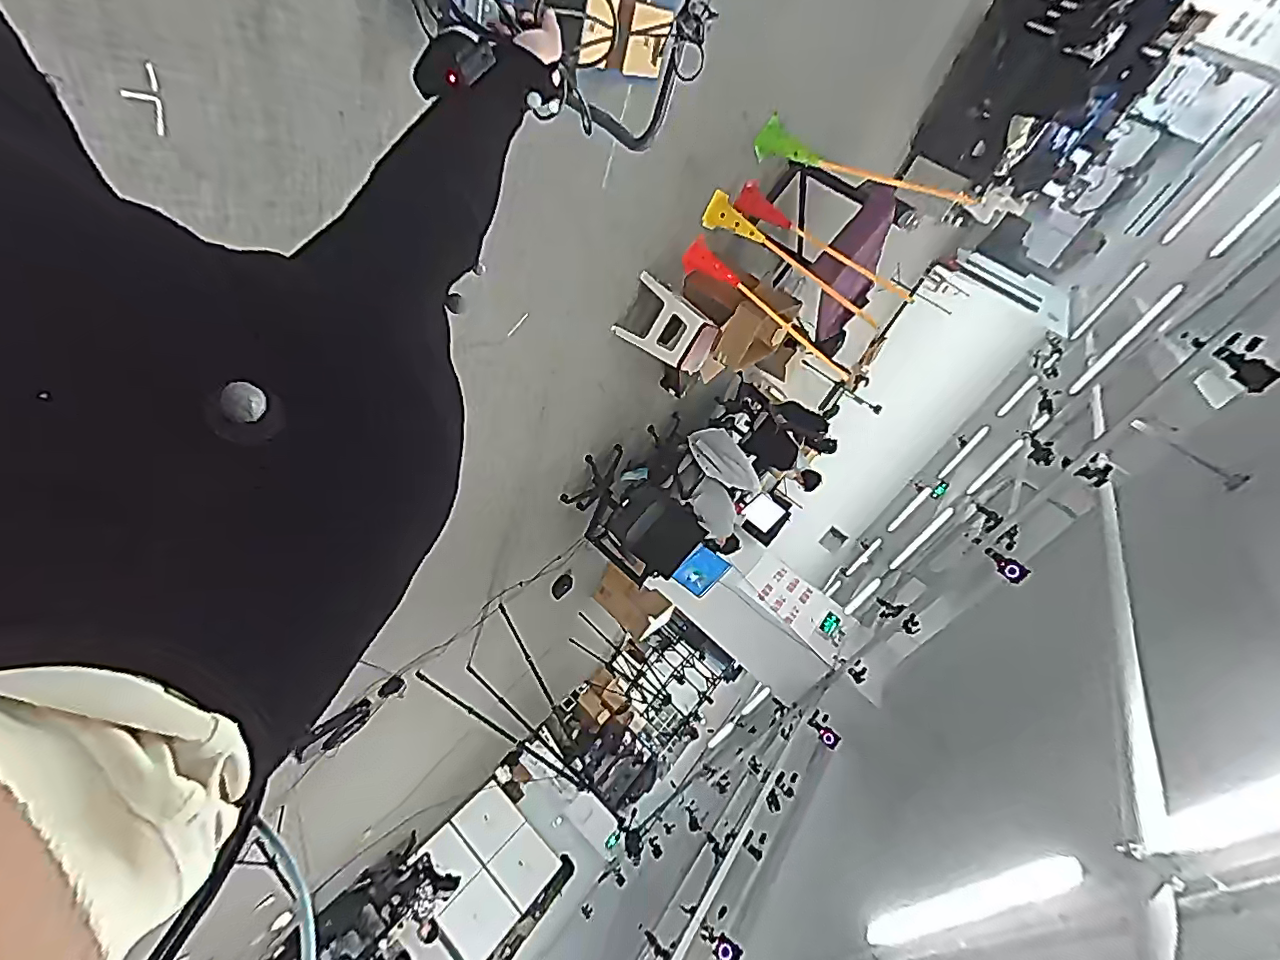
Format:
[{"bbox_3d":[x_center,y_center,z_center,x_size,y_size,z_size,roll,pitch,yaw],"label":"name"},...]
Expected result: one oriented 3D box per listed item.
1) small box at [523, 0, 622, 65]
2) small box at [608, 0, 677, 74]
[{"bbox_3d":[-0.178,-1.230,1.418,0.179,0.176,0.168,-32,155,-43],"label":"small box"},{"bbox_3d":[-0.025,-1.324,1.585,0.179,0.176,0.168,-33,155,-40],"label":"small box"}]
